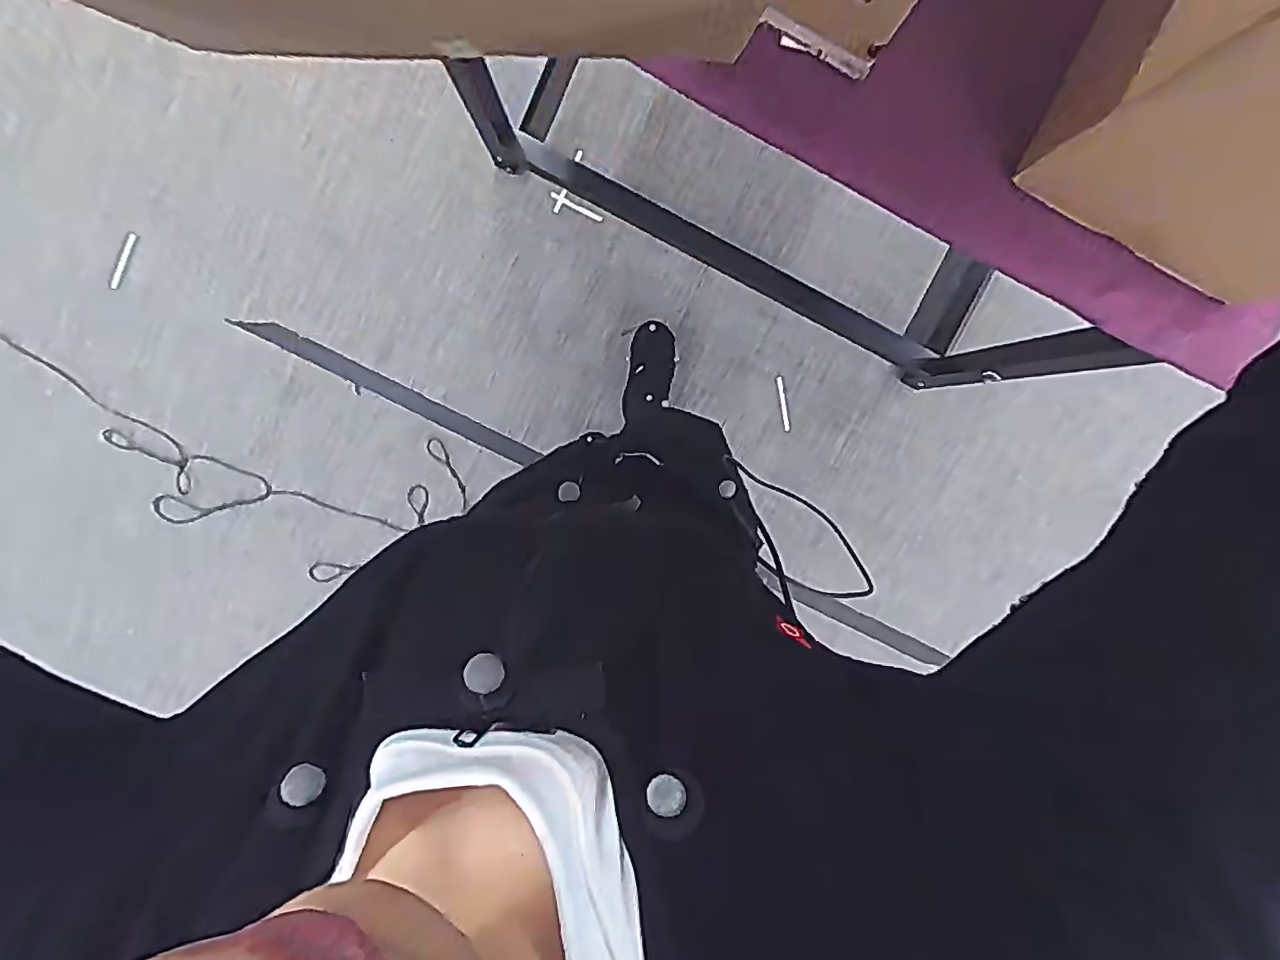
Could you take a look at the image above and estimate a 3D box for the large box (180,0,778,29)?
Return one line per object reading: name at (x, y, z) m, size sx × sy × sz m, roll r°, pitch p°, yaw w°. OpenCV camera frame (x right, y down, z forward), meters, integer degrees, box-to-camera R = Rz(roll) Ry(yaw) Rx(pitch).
large box at (-0.079, -0.365, 0.079) m, size 0.320 × 0.320 × 0.408 m, roll 1°, pitch 115°, yaw 1°
